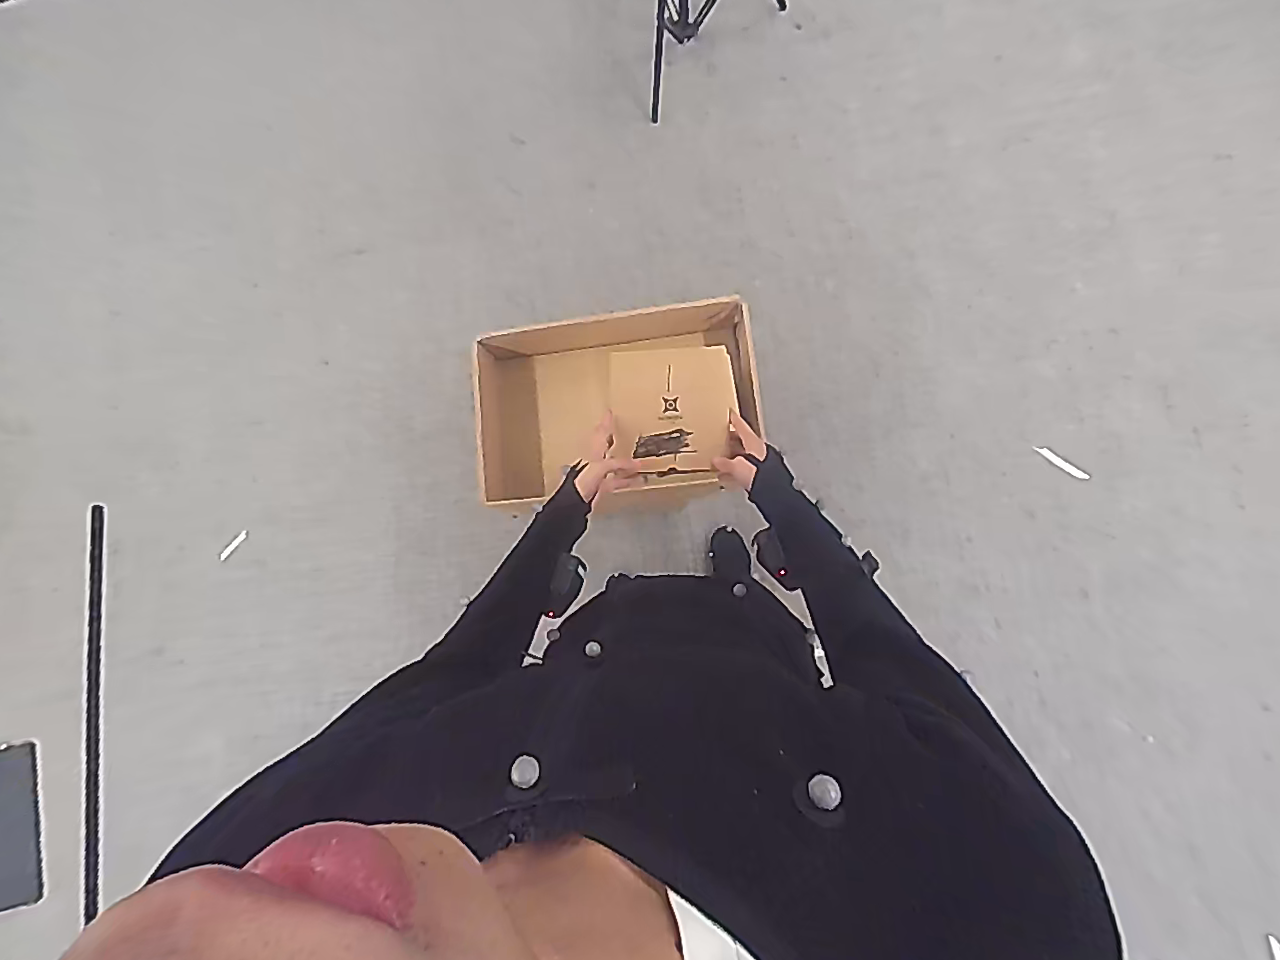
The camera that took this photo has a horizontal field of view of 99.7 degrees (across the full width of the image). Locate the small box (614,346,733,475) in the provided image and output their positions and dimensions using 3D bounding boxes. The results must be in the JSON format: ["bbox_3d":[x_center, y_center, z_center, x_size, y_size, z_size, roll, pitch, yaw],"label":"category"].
[{"bbox_3d":[0.055,-0.099,0.836,0.168,0.176,0.179,-2,90,5],"label":"small box"}]
